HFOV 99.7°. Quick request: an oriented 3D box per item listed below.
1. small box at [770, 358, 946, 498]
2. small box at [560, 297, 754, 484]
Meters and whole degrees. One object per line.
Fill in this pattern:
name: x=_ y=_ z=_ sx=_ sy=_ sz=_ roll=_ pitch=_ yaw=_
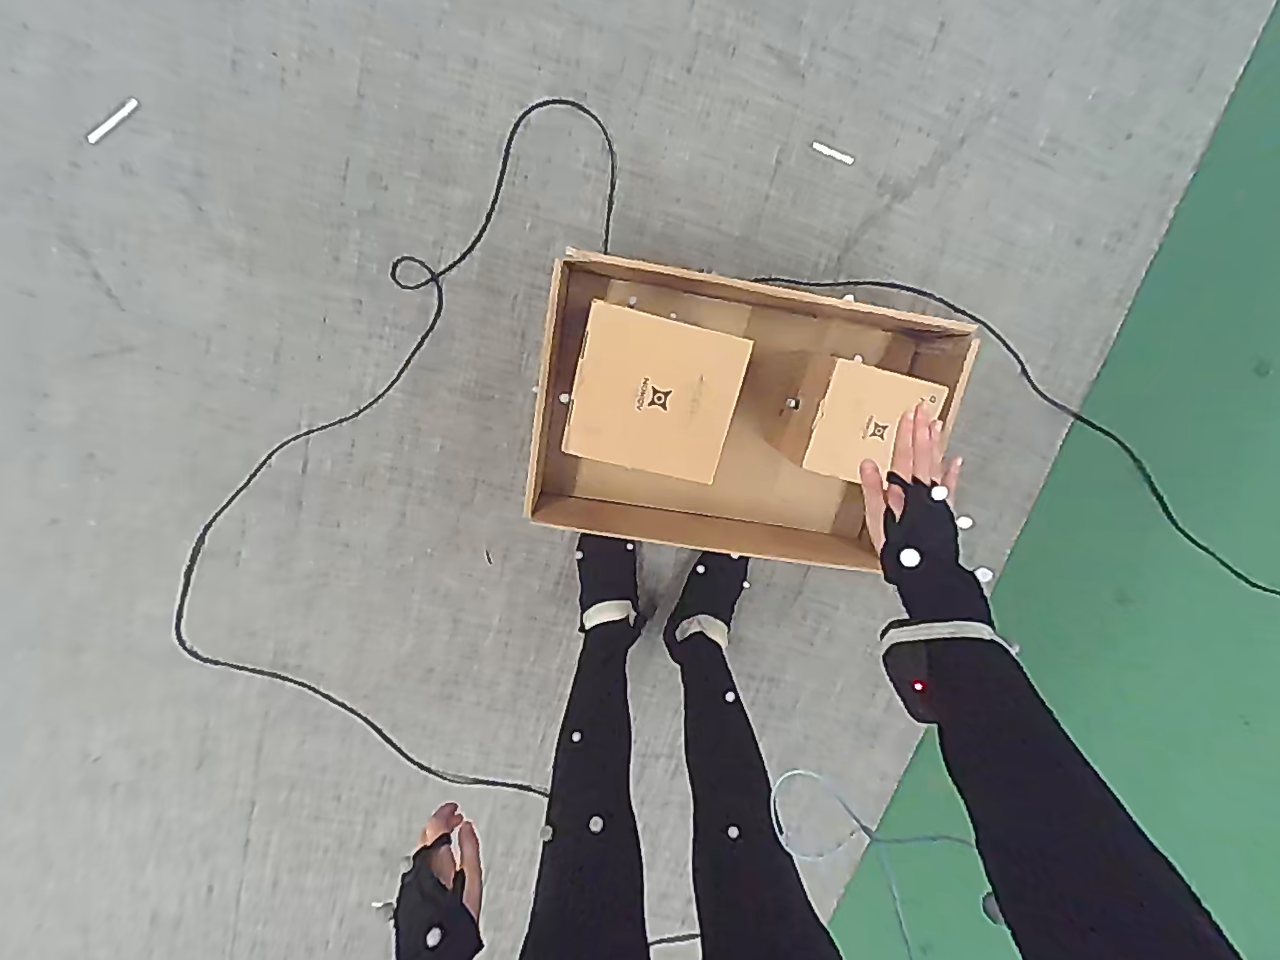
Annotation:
small box: x=0.326 y=-0.090 z=0.850 sx=0.179 sy=0.176 sz=0.168 roll=14 pitch=104 yaw=-7
small box: x=0.011 y=-0.111 z=0.653 sx=0.179 sy=0.176 sz=0.168 roll=13 pitch=106 yaw=-8
